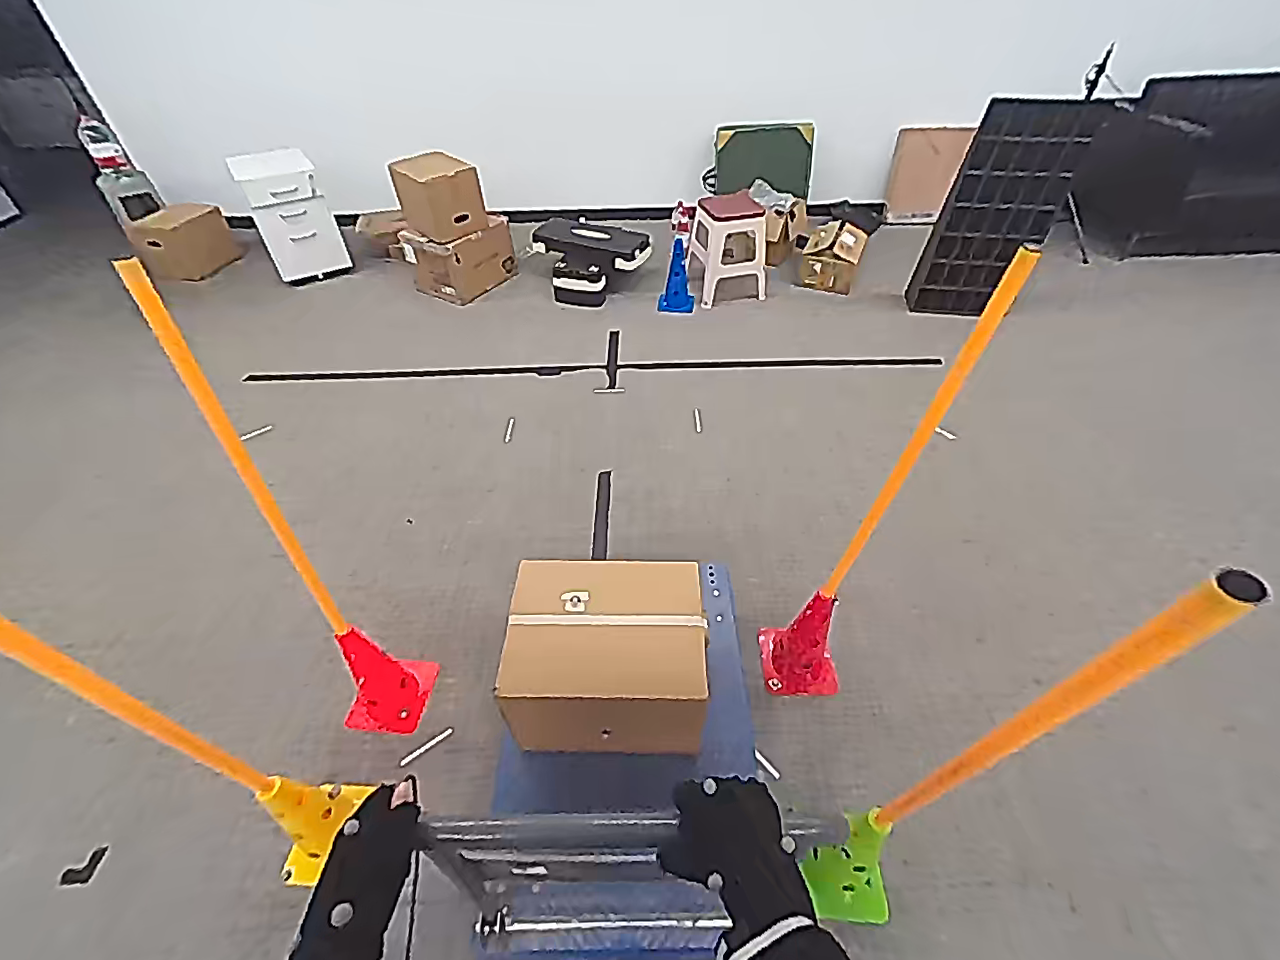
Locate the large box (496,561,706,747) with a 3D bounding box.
[{"bbox_3d":[-0.069,0.399,1.228,0.408,0.320,0.320,0,45,2],"label":"large box"}]

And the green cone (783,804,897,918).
[{"bbox_3d":[0.432,0.731,1.091,0.202,0.368,0.200,3,45,2],"label":"green cone"}]

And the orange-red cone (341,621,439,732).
[{"bbox_3d":[-0.680,0.466,1.379,0.198,0.360,0.199,5,44,5],"label":"orange-red cone"}]

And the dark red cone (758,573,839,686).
[{"bbox_3d":[0.450,0.375,1.421,0.201,0.394,0.202,1,46,-1],"label":"dark red cone"}]
